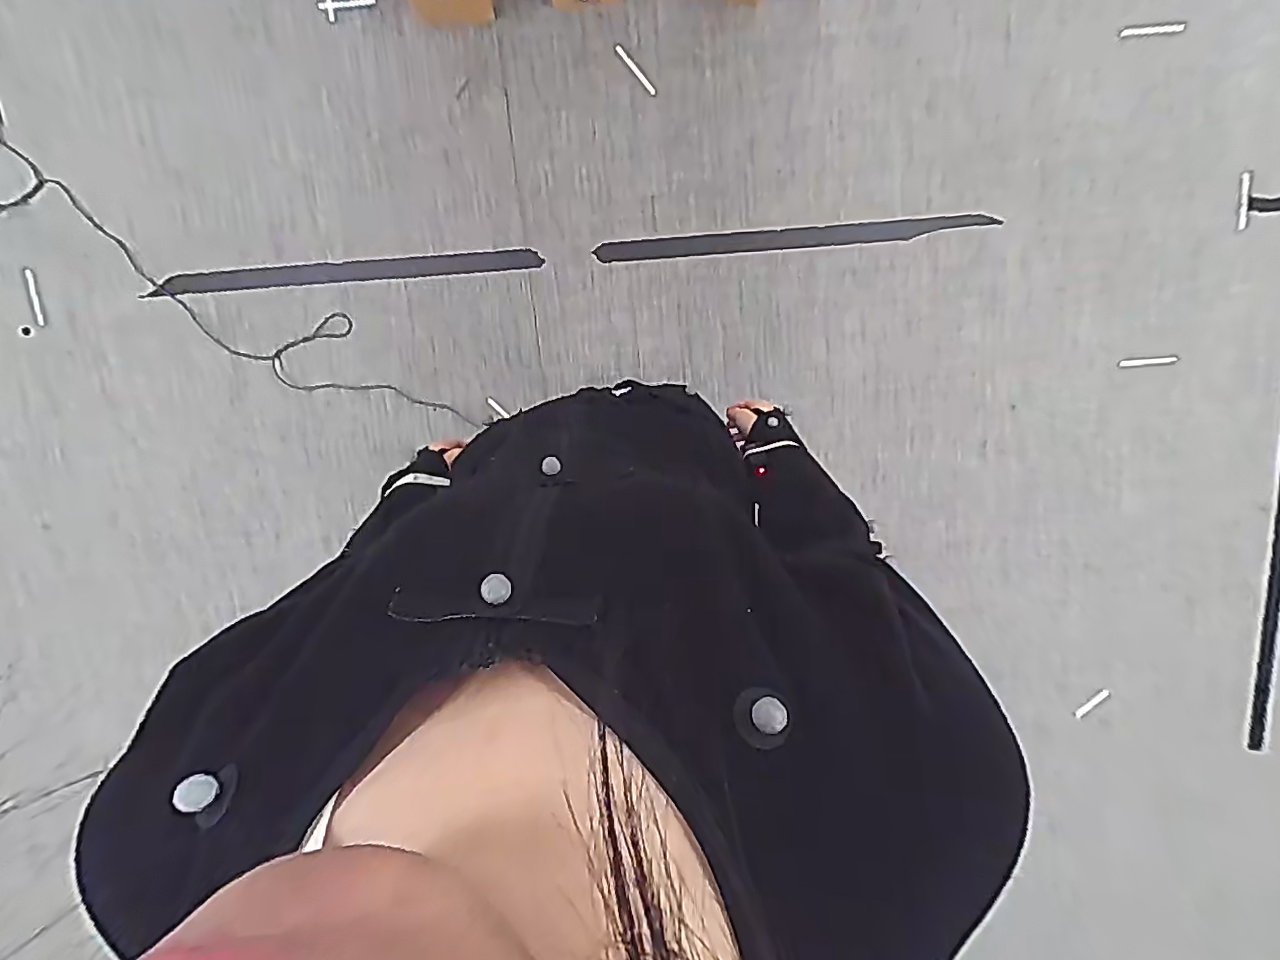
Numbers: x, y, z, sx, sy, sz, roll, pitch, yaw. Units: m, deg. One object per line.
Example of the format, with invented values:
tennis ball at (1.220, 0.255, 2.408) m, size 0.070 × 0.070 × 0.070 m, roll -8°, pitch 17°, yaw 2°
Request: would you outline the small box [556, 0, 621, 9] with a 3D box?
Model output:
small box at (-0.127, -1.201, 1.197) m, size 0.168 × 0.176 × 0.179 m, roll -6°, pitch 101°, yaw 0°
